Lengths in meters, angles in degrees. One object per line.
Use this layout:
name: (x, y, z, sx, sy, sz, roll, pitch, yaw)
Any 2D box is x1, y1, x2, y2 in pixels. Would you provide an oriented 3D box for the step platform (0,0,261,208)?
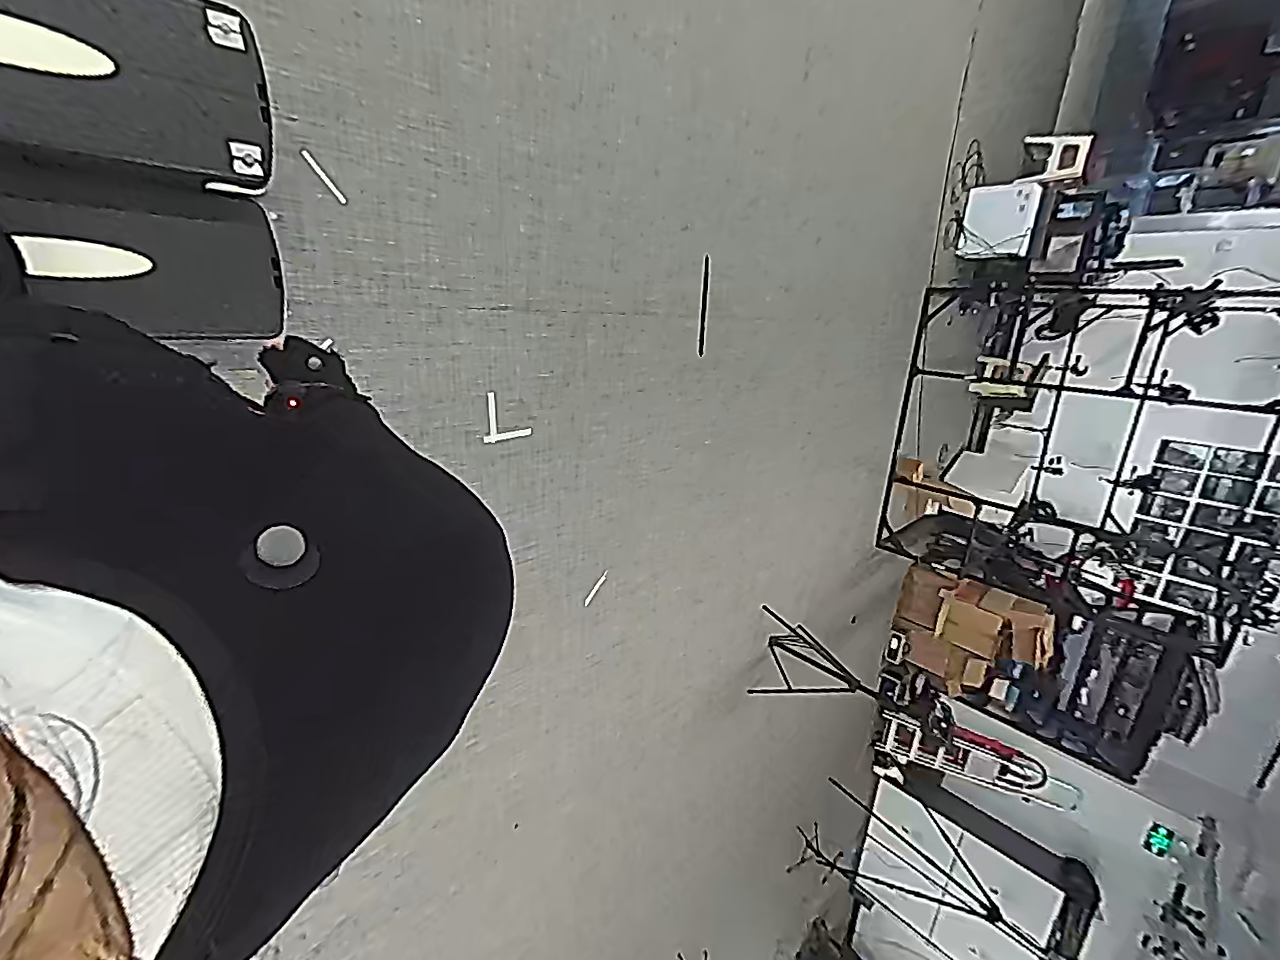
step platform: (-0.995, -0.617, 0.823, 0.684, 0.204, 0.286, -16, 116, -43)
